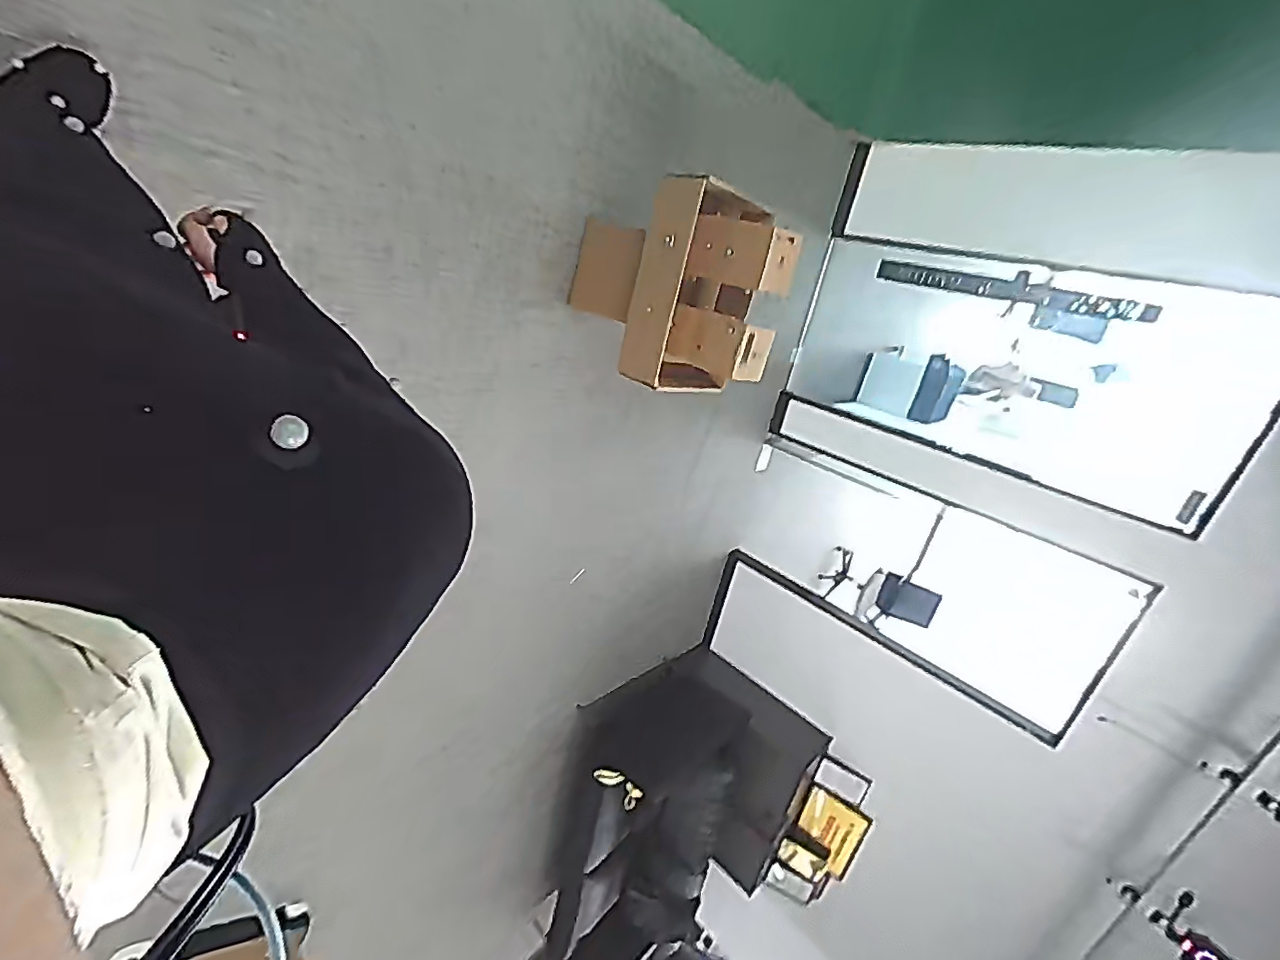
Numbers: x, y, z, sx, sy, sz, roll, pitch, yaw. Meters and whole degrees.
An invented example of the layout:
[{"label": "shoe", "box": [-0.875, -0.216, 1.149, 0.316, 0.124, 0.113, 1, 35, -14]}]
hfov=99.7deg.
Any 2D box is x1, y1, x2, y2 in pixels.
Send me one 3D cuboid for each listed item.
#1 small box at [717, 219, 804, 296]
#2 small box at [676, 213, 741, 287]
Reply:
[{"label": "small box", "box": [0.351, -0.660, 1.605, 0.168, 0.176, 0.179, -12, 123, -45]}, {"label": "small box", "box": [0.237, -0.726, 1.703, 0.168, 0.176, 0.179, -10, 122, -46]}]
